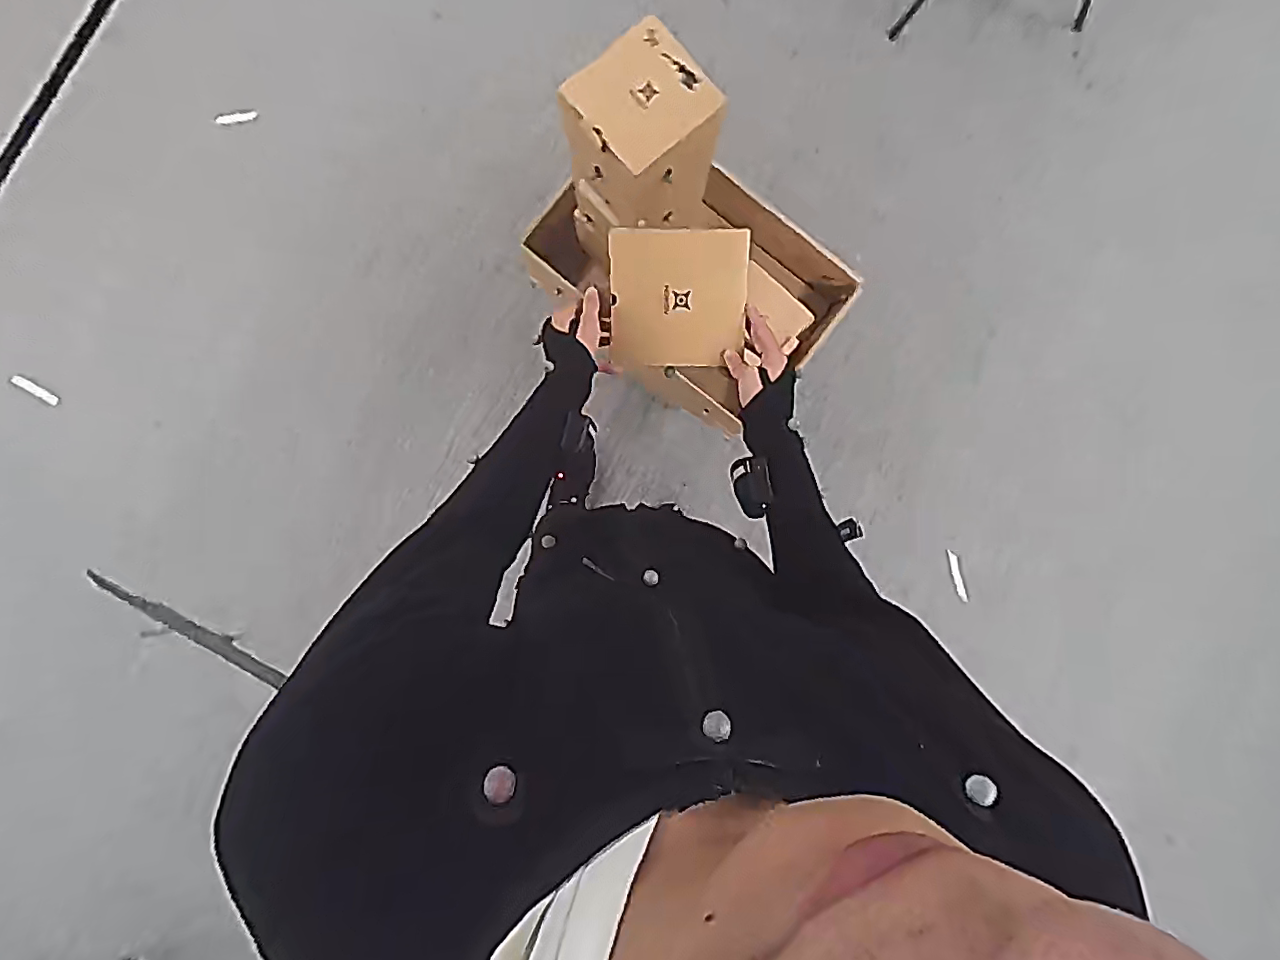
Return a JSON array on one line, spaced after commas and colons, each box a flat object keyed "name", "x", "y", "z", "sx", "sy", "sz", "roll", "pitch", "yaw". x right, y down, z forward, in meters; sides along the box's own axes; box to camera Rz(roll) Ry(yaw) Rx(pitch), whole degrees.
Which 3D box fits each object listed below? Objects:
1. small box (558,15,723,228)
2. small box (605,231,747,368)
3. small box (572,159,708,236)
[{"name": "small box", "x": 0.001, "y": -0.530, "z": 0.829, "sx": 0.179, "sy": 0.176, "sz": 0.168, "roll": -40, "pitch": 90, "yaw": -2}, {"name": "small box", "x": 0.046, "y": -0.245, "z": 0.756, "sx": 0.179, "sy": 0.176, "sz": 0.168, "roll": 0, "pitch": 104, "yaw": 3}, {"name": "small box", "x": -0.001, "y": -0.532, "z": 0.994, "sx": 0.179, "sy": 0.176, "sz": 0.168, "roll": -43, "pitch": 90, "yaw": -3}]
